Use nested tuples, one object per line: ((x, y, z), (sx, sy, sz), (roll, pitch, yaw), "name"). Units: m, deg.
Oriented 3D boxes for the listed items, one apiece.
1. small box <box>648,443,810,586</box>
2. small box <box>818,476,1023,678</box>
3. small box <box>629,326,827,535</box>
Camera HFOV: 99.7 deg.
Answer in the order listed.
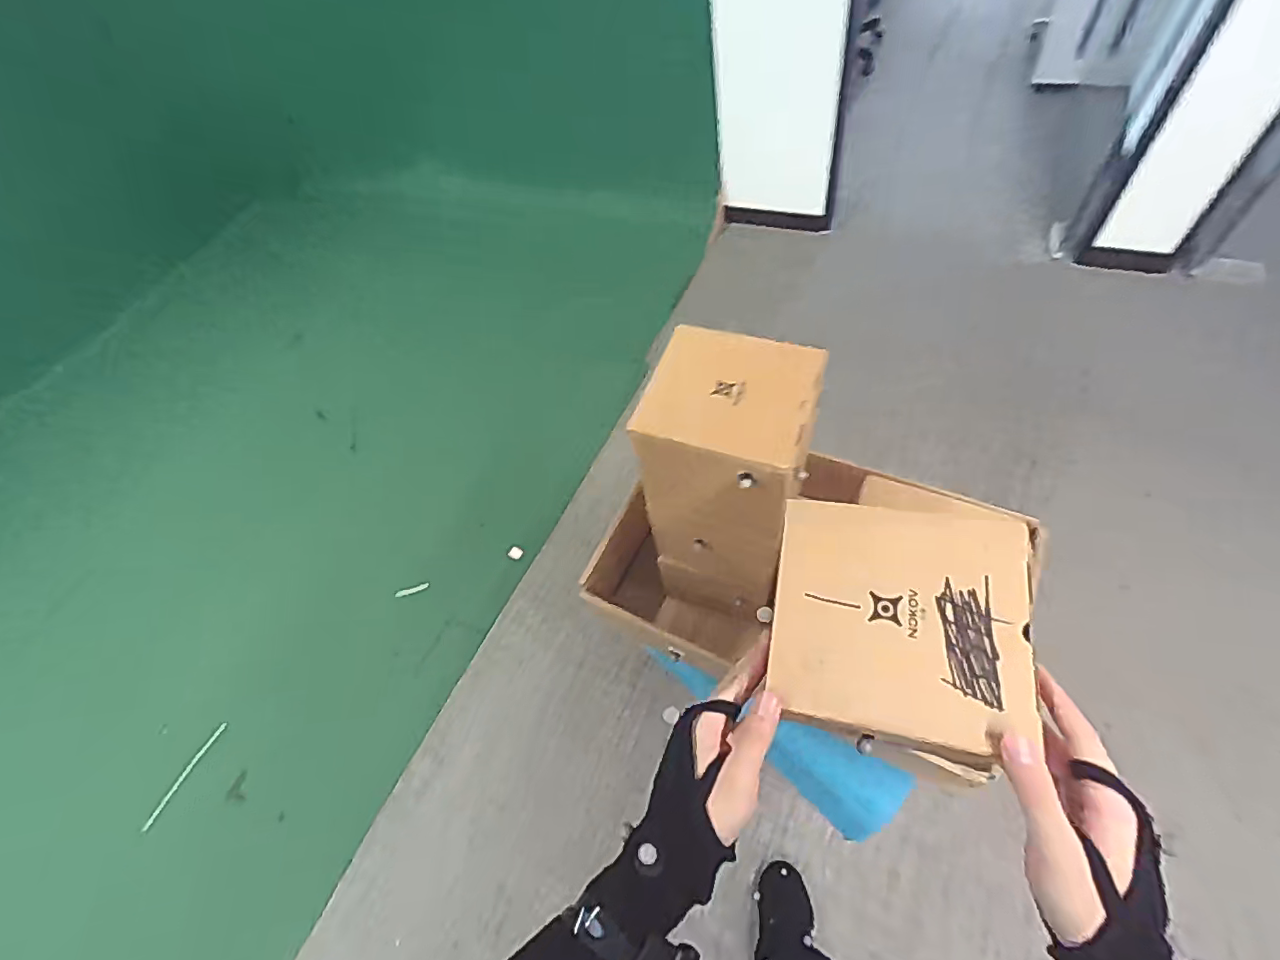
((0.131, 0.034, 0.784), (0.179, 0.176, 0.168), (16, 63, 19), "small box")
((0.338, 0.127, 0.682), (0.179, 0.176, 0.168), (21, 64, 23), "small box")
((0.107, -0.054, 0.649), (0.179, 0.176, 0.168), (16, 63, 17), "small box")
